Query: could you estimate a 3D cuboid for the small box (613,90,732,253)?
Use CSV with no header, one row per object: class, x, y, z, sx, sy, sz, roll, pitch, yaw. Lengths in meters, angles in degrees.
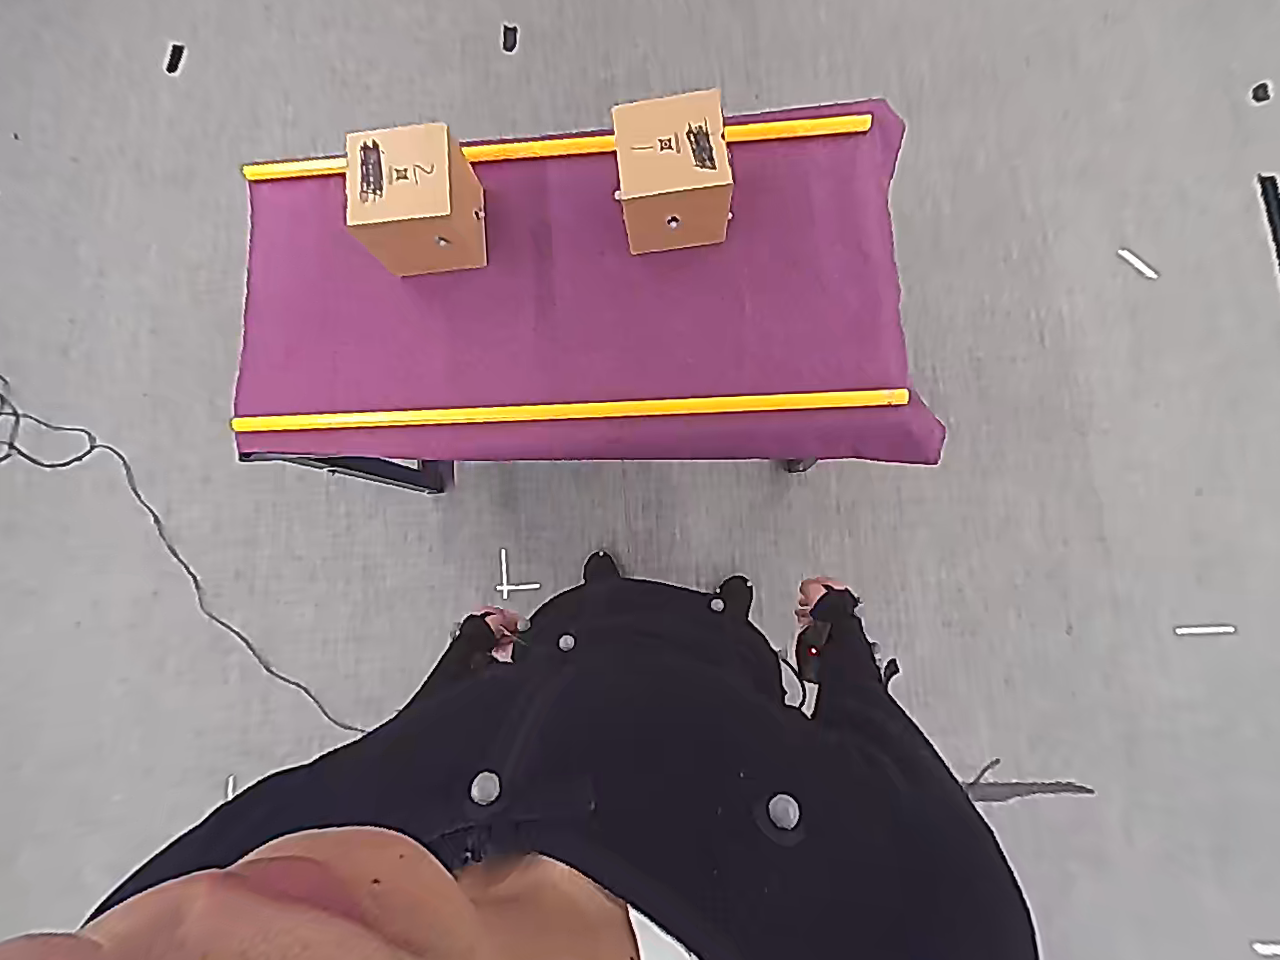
small box,0.055,-0.511,0.919,0.179,0.176,0.168,-6,83,5
